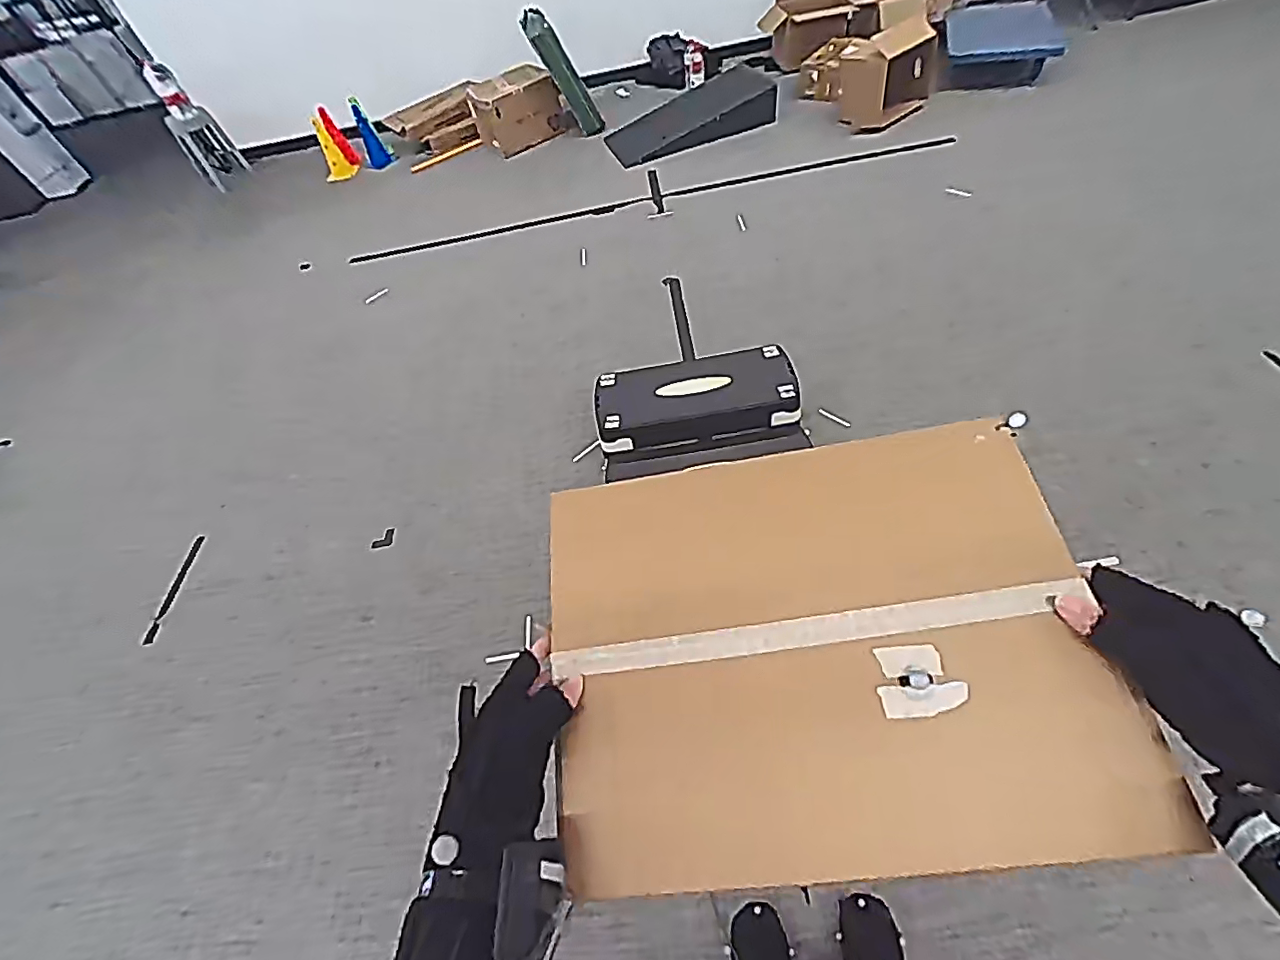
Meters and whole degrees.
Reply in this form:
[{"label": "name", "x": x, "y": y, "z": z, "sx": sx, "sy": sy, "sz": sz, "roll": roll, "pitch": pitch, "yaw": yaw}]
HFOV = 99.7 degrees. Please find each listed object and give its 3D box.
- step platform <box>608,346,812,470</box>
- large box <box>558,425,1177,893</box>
[{"label": "step platform", "x": 0.230, "y": -0.251, "z": 1.859, "sx": 0.684, "sy": 0.204, "sz": 0.286, "roll": -10, "pitch": 52, "yaw": 3}, {"label": "large box", "x": 0.157, "y": 0.187, "z": 0.561, "sx": 0.408, "sy": 0.320, "sz": 0.320, "roll": -10, "pitch": 63, "yaw": 7}]
